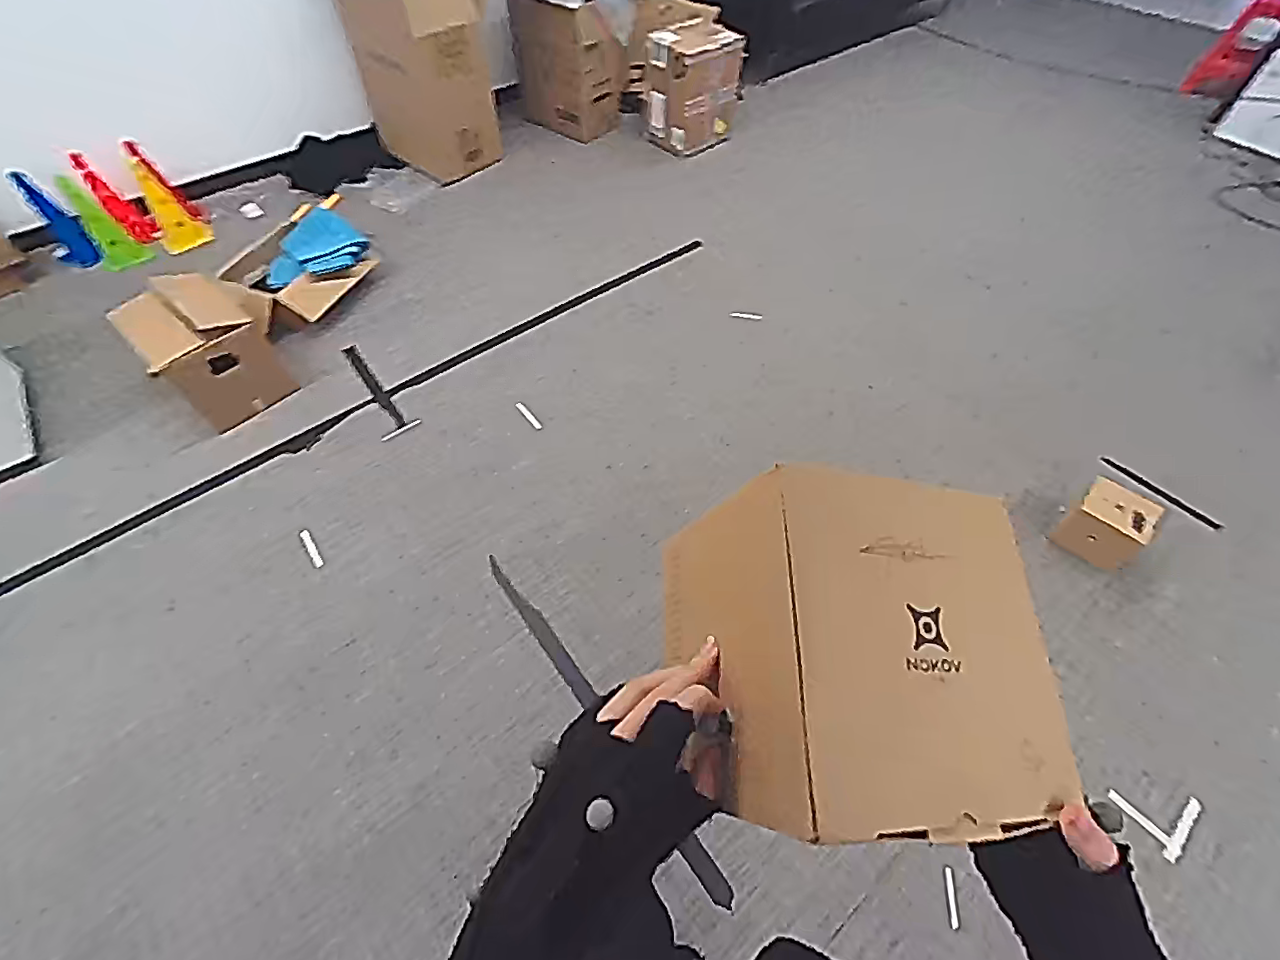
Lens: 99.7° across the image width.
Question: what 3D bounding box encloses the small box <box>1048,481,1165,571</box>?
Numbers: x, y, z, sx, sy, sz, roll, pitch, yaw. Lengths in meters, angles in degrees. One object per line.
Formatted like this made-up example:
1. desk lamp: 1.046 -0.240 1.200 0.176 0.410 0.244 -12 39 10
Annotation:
1. small box: 1.368 0.144 1.596 0.179 0.176 0.168 38 63 25
